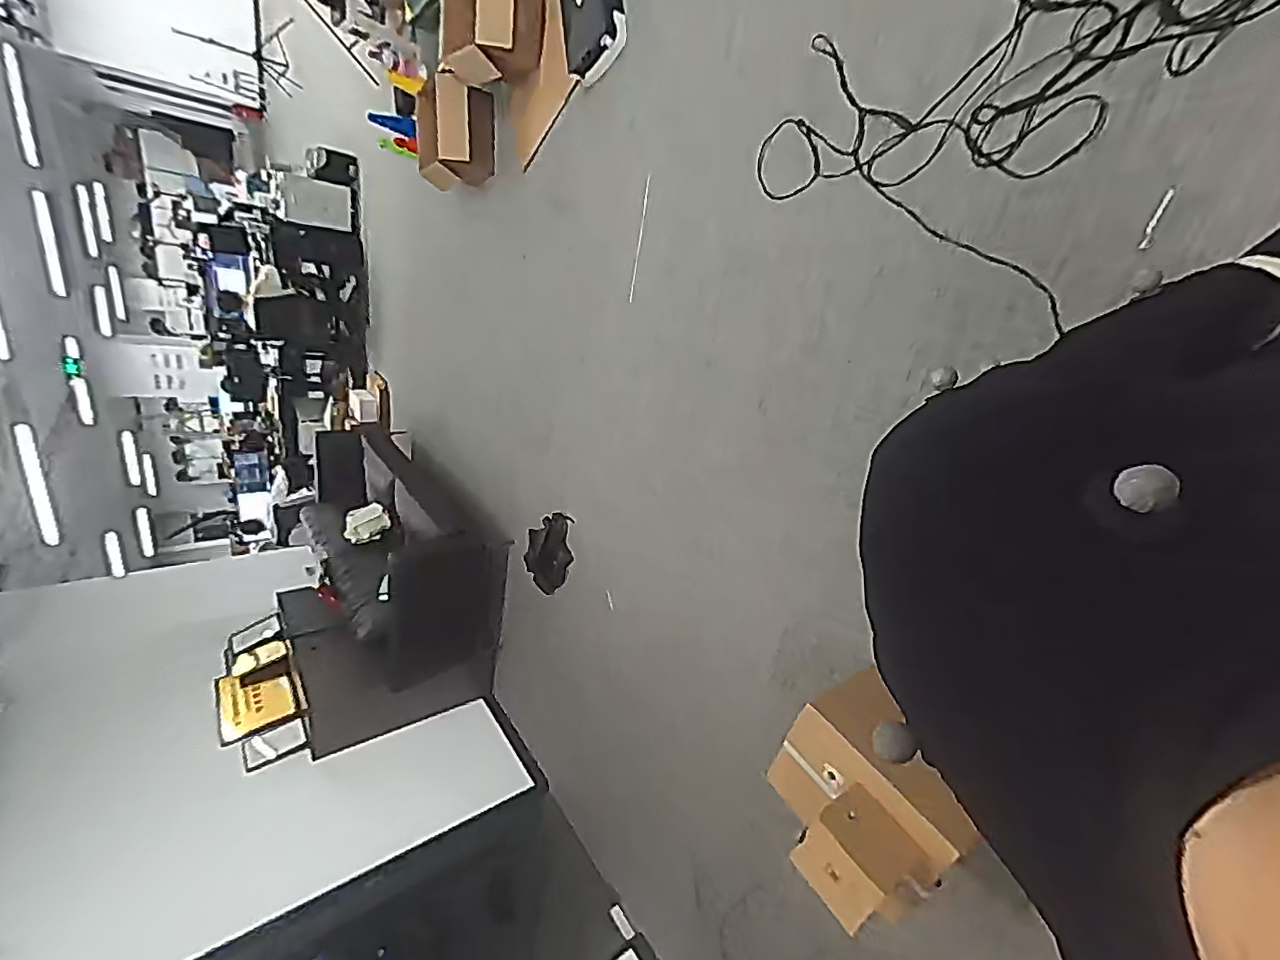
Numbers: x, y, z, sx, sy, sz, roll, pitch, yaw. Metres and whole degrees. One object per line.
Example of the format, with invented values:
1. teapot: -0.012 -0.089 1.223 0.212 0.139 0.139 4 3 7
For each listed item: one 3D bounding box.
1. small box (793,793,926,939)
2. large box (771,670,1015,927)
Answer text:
1. small box: 0.472 0.816 1.169 0.179 0.176 0.168 40 126 40
2. large box: 0.620 0.770 1.367 0.408 0.320 0.320 42 126 41
